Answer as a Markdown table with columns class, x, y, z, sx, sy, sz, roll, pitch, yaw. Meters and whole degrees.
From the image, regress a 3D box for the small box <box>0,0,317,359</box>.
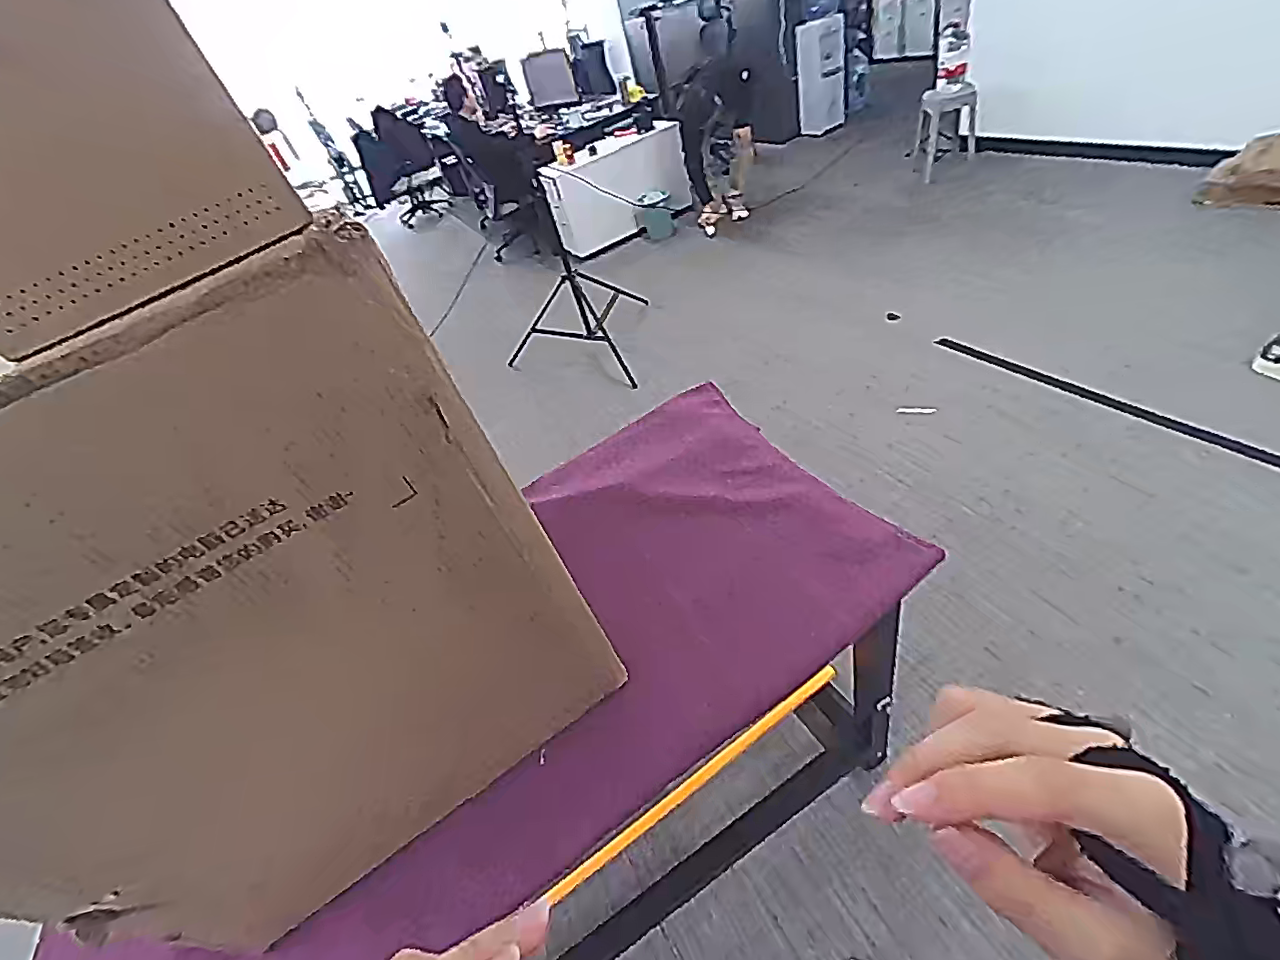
| class | x | y | z | sx | sy | sz | roll | pitch | yaw |
| --- | --- | --- | --- | --- | --- | --- | --- | --- | --- |
| small box | -0.328 | -0.196 | 0.311 | 0.179 | 0.176 | 0.168 | -35 | 44 | -14 |
